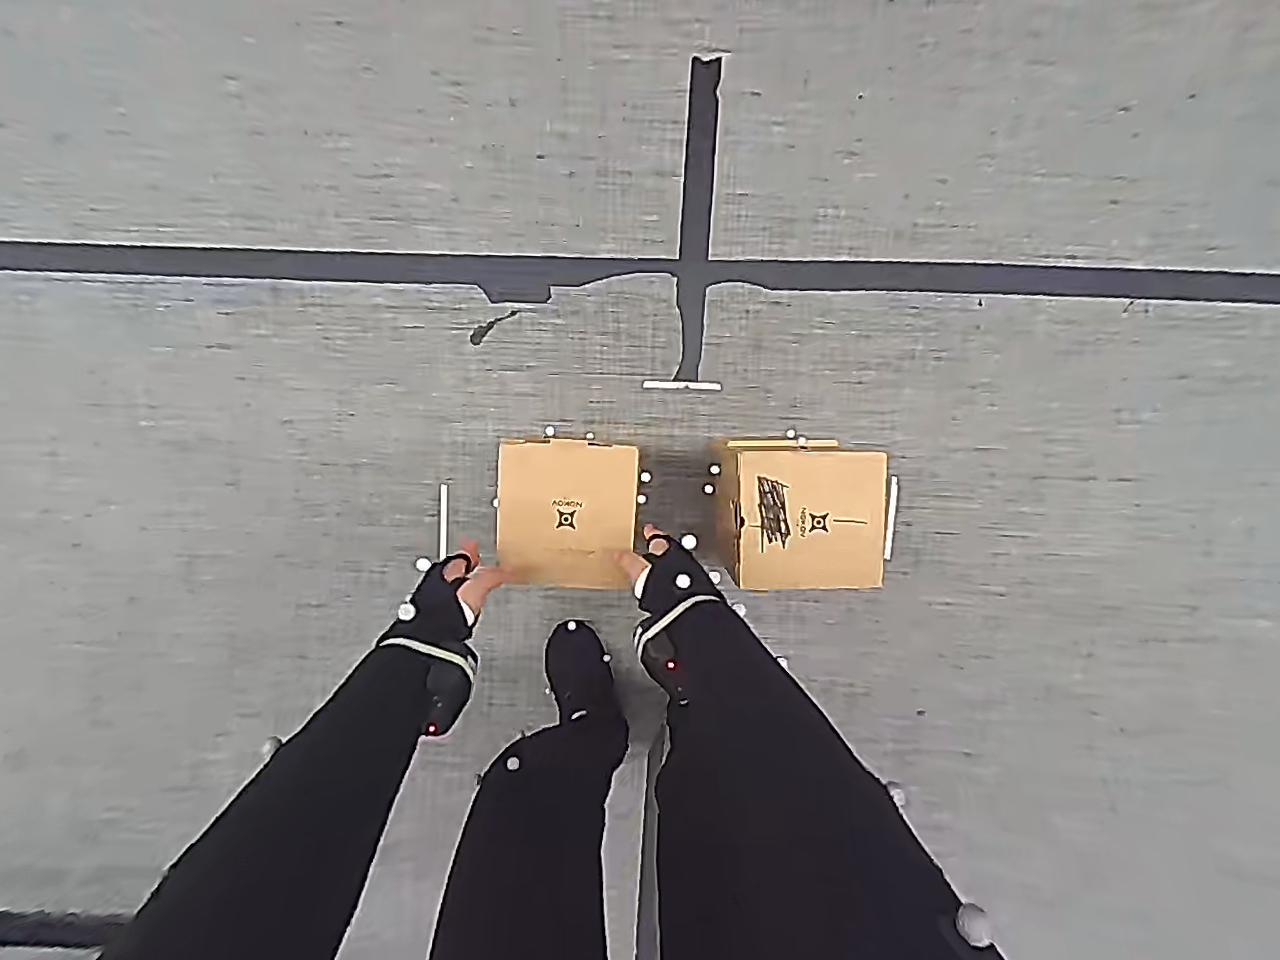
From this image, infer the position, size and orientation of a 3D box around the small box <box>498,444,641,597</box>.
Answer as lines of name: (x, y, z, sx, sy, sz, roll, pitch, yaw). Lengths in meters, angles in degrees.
small box: (-0.085, 0.044, 0.725, 0.168, 0.176, 0.179, 3, 97, 1)

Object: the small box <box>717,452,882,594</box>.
small box: (0.200, 0.049, 0.725, 0.179, 0.176, 0.168, 0, 95, -1)

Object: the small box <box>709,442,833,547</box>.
small box: (0.206, 0.030, 0.890, 0.168, 0.176, 0.179, 0, 96, 0)
